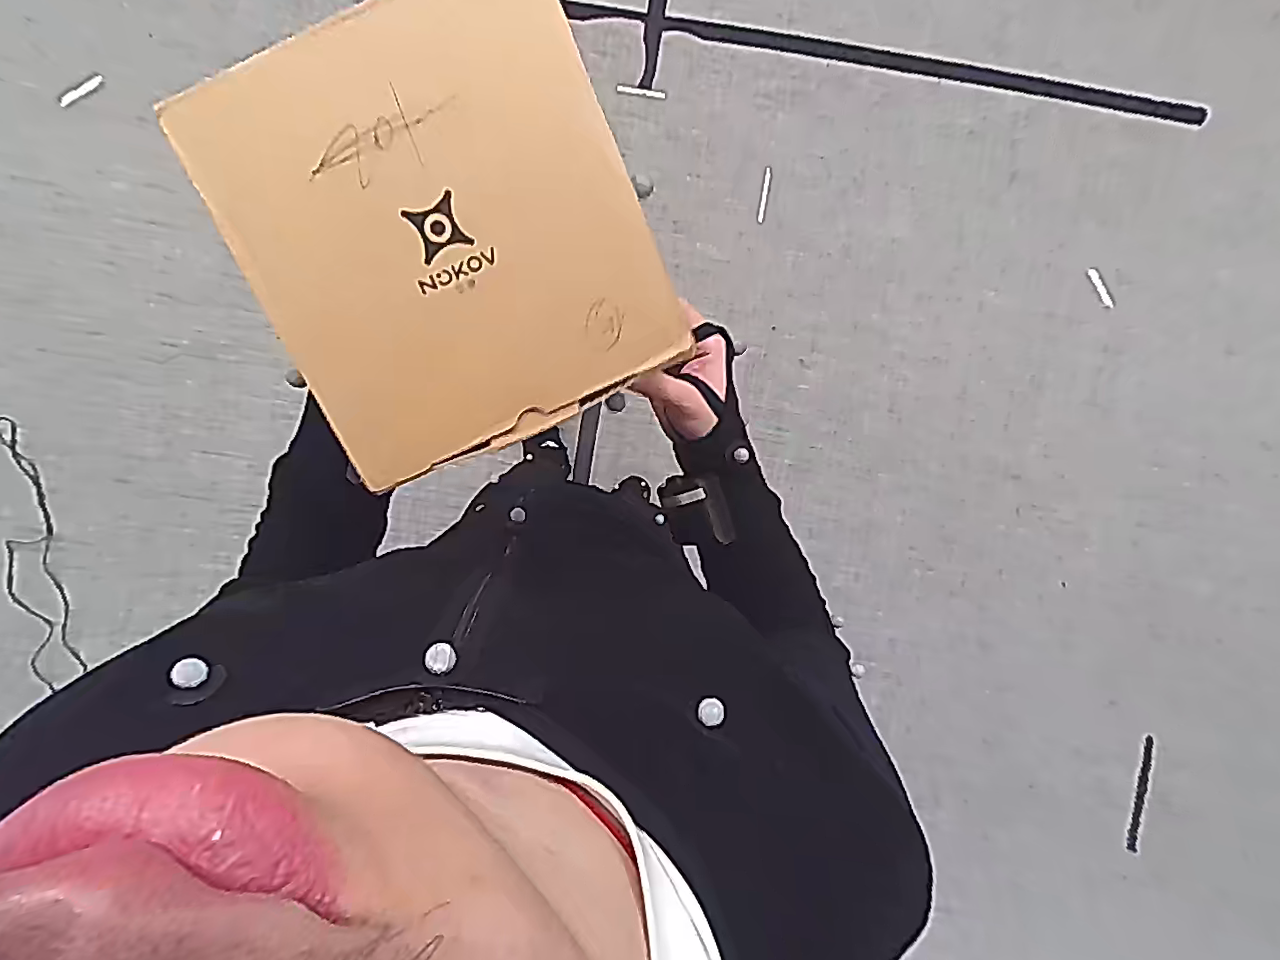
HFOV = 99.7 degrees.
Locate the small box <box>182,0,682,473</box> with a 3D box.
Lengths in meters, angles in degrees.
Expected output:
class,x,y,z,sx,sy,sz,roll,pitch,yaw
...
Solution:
class,x,y,z,sx,sy,sz,roll,pitch,yaw
small box,-0.089,-0.128,0.319,0.168,0.176,0.179,-25,101,2
